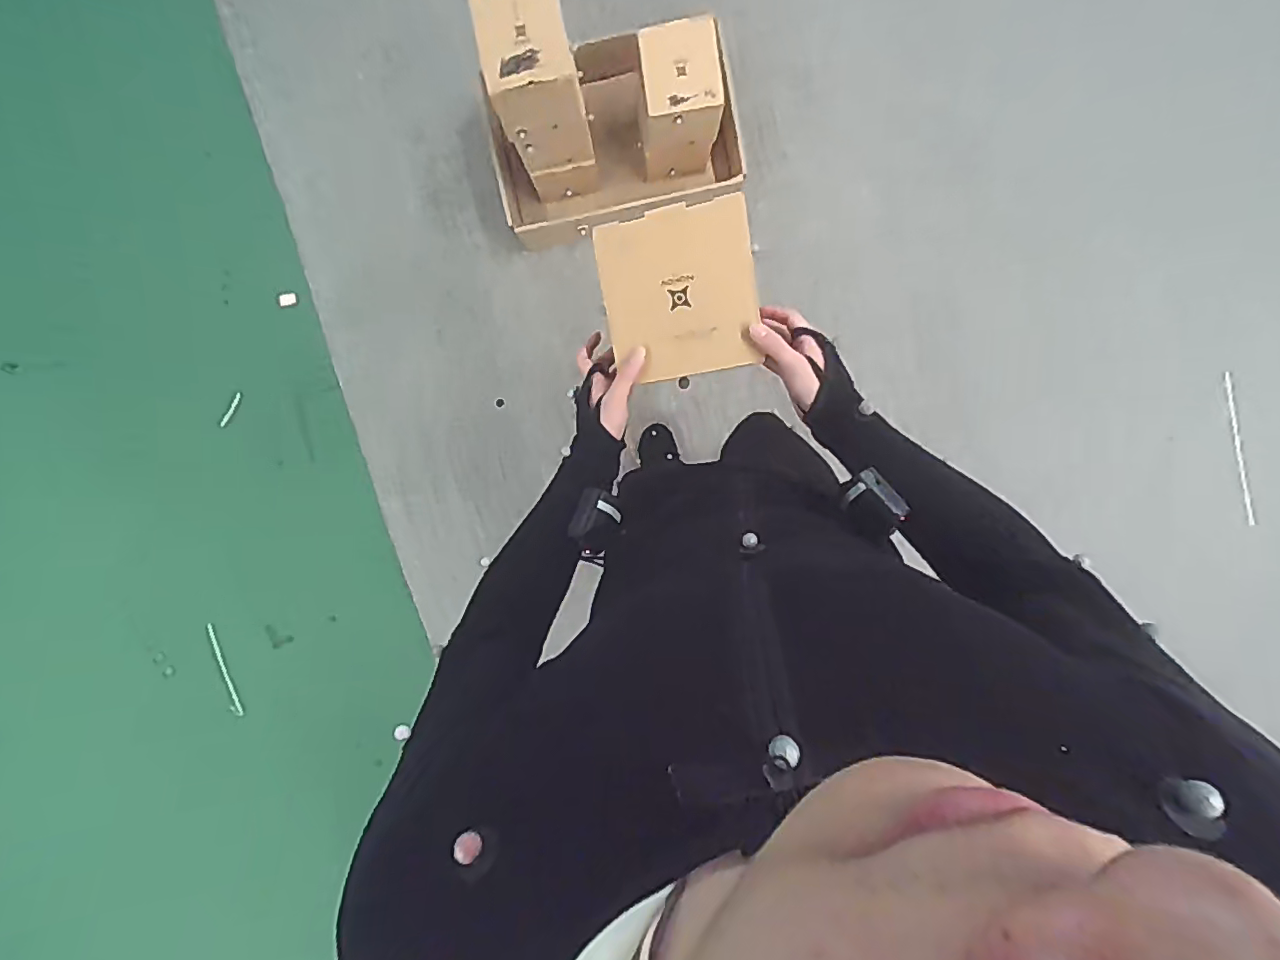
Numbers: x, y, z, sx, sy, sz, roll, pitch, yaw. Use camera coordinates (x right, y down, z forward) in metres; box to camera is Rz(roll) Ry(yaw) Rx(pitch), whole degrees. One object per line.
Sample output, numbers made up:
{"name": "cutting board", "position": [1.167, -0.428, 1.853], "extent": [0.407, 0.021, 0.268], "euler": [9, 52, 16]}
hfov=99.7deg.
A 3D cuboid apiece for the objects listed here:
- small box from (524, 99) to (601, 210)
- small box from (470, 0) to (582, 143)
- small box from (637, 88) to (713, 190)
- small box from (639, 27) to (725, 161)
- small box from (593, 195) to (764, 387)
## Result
{"name": "small box", "position": [-0.202, -0.833, 1.399], "extent": [0.168, 0.176, 0.179], "euler": [-11, 94, 2]}
{"name": "small box", "position": [-0.216, -0.802, 1.073], "extent": [0.168, 0.176, 0.179], "euler": [-11, 94, 1]}
{"name": "small box", "position": [0.084, -0.882, 1.390], "extent": [0.168, 0.176, 0.179], "euler": [-10, 96, 2]}
{"name": "small box", "position": [0.090, -0.865, 1.227], "extent": [0.168, 0.176, 0.179], "euler": [-9, 95, 2]}
{"name": "small box", "position": [0.052, -0.212, 0.655], "extent": [0.168, 0.176, 0.179], "euler": [-8, 100, 11]}
